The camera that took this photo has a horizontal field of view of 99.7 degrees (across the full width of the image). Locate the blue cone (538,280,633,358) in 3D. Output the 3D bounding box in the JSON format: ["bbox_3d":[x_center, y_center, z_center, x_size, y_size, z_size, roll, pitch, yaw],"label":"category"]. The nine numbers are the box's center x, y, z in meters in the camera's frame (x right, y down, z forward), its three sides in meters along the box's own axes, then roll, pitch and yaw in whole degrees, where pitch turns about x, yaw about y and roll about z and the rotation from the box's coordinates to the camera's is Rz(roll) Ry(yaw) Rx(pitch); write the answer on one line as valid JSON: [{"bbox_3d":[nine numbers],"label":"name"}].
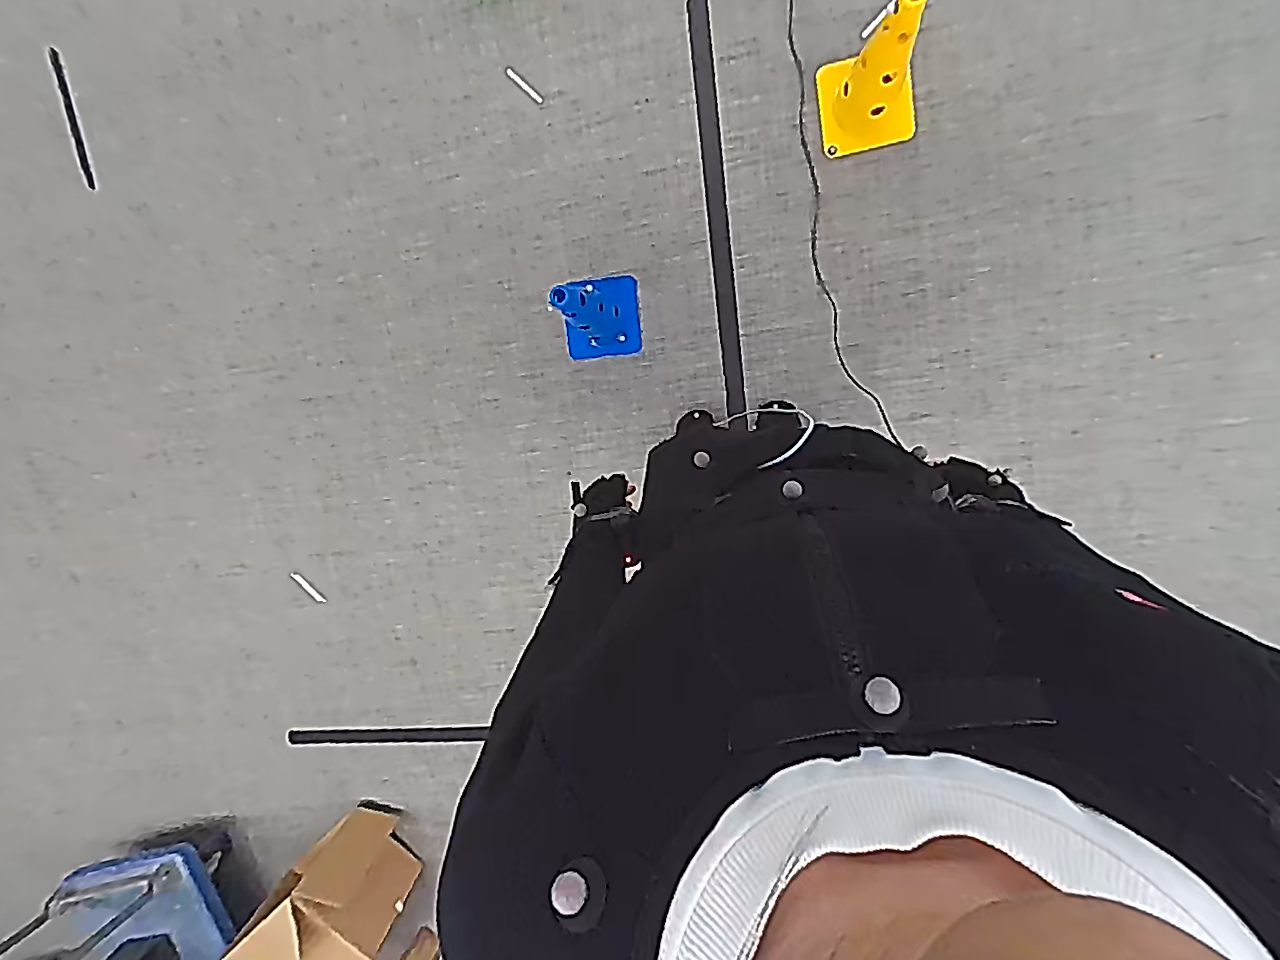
[{"bbox_3d":[-0.144,-0.397,1.262,0.192,0.380,0.193,-2,99,11],"label":"blue cone"}]
